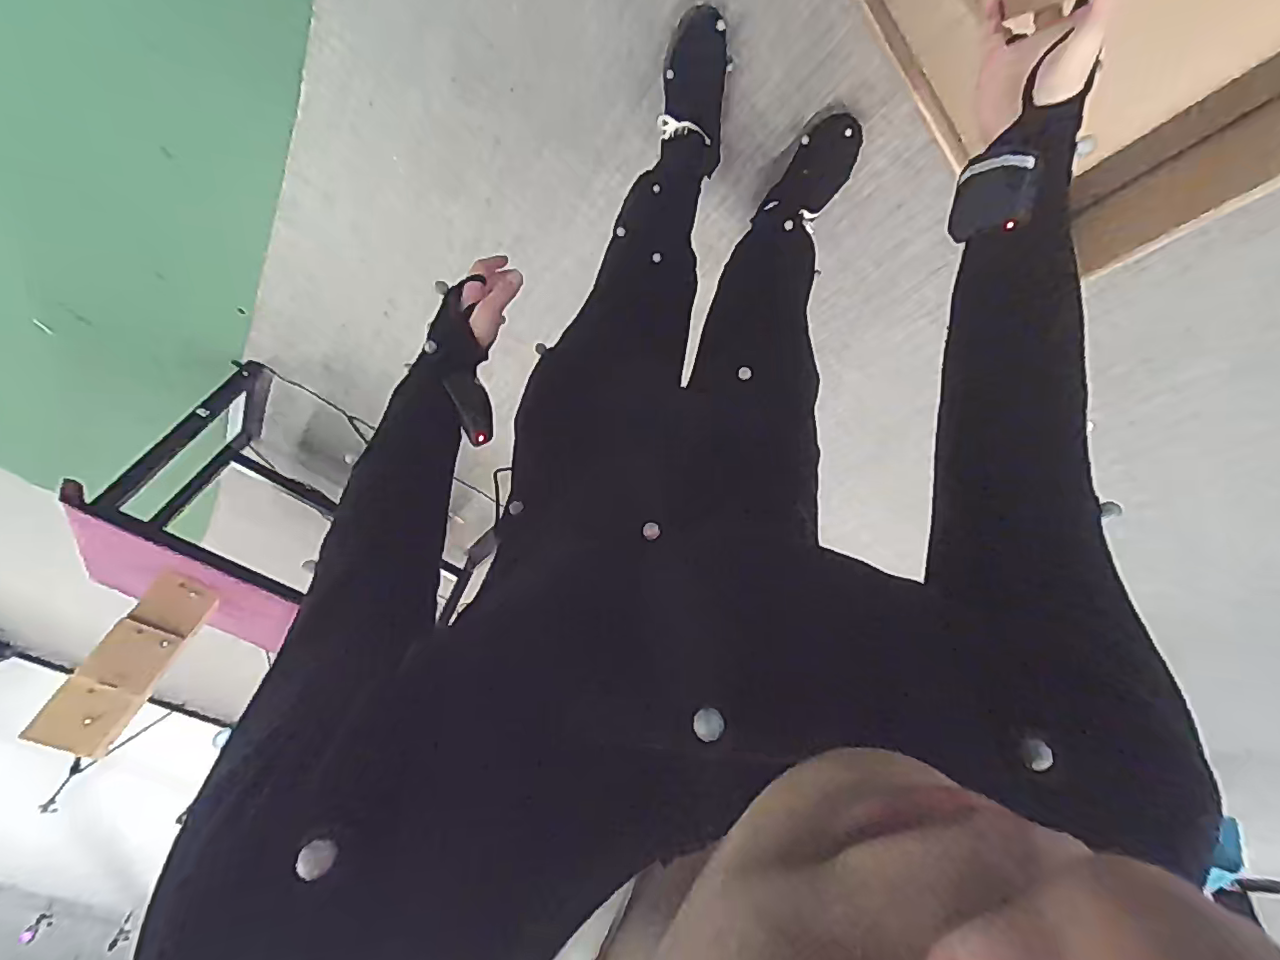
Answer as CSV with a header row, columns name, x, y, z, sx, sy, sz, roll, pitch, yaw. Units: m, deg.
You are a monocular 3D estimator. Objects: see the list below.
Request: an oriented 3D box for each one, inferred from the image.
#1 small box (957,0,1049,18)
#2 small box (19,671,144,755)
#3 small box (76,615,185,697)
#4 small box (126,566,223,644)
name,x,y,z,sx,sy,sz,roll,pitch,yaw
small box,0.316,-0.491,0.388,0.168,0.176,0.179,38,118,-18
small box,-1.512,0.636,1.478,0.168,0.176,0.179,32,140,-21
small box,-1.470,0.510,1.572,0.168,0.176,0.179,33,139,-22
small box,-1.449,0.394,1.688,0.168,0.176,0.179,35,137,-23
